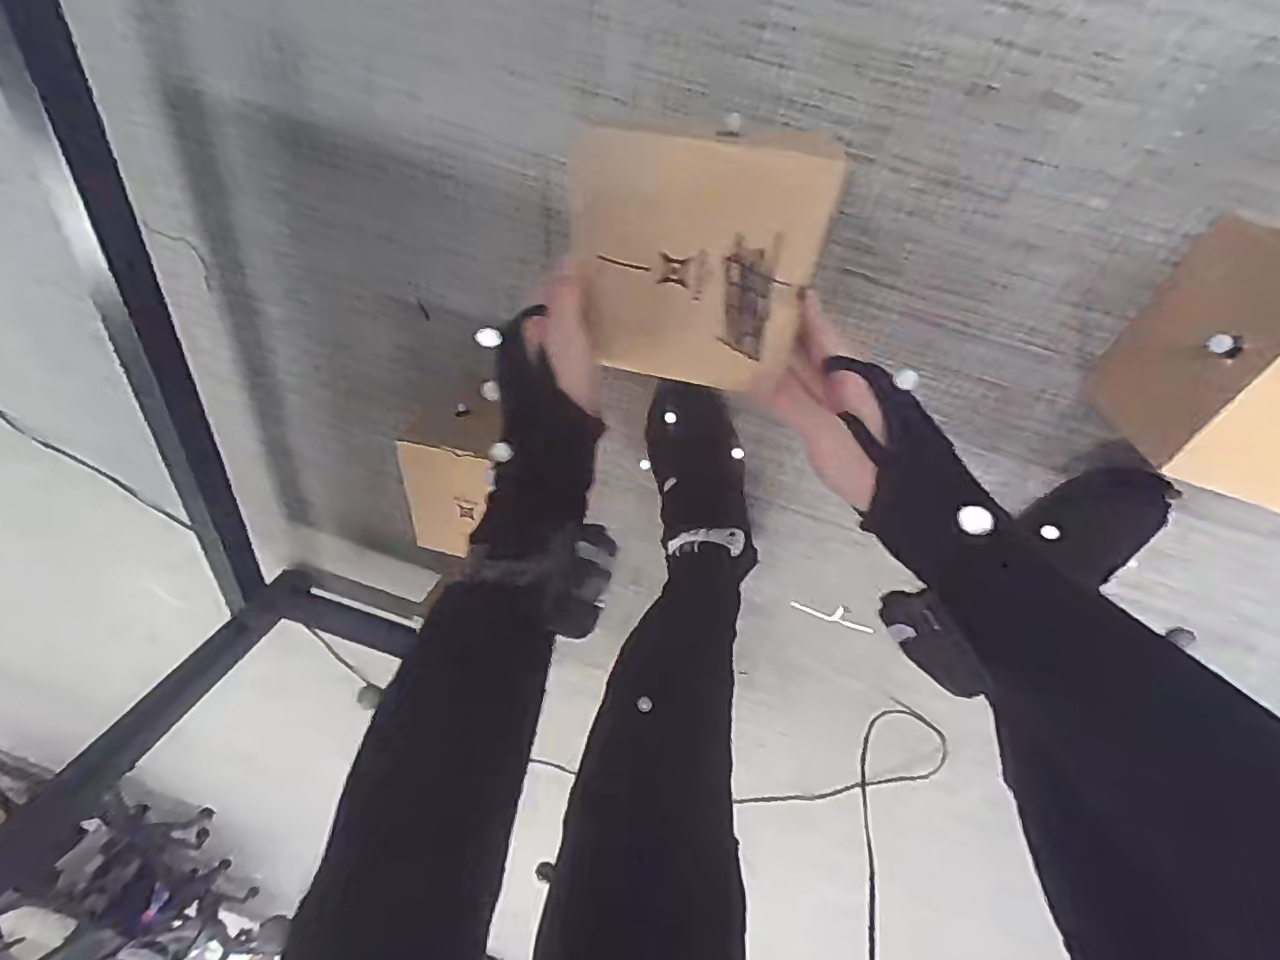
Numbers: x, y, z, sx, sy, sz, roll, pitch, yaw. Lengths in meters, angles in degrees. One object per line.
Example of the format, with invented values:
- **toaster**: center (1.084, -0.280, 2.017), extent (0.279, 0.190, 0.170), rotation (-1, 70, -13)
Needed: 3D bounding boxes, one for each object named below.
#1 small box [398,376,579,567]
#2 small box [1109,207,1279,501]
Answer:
- **small box**: center (-0.187, -0.019, 0.718), extent (0.168, 0.176, 0.179), rotation (14, 127, 9)
- **small box**: center (0.537, -0.095, 0.436), extent (0.168, 0.176, 0.179), rotation (20, 127, 3)
